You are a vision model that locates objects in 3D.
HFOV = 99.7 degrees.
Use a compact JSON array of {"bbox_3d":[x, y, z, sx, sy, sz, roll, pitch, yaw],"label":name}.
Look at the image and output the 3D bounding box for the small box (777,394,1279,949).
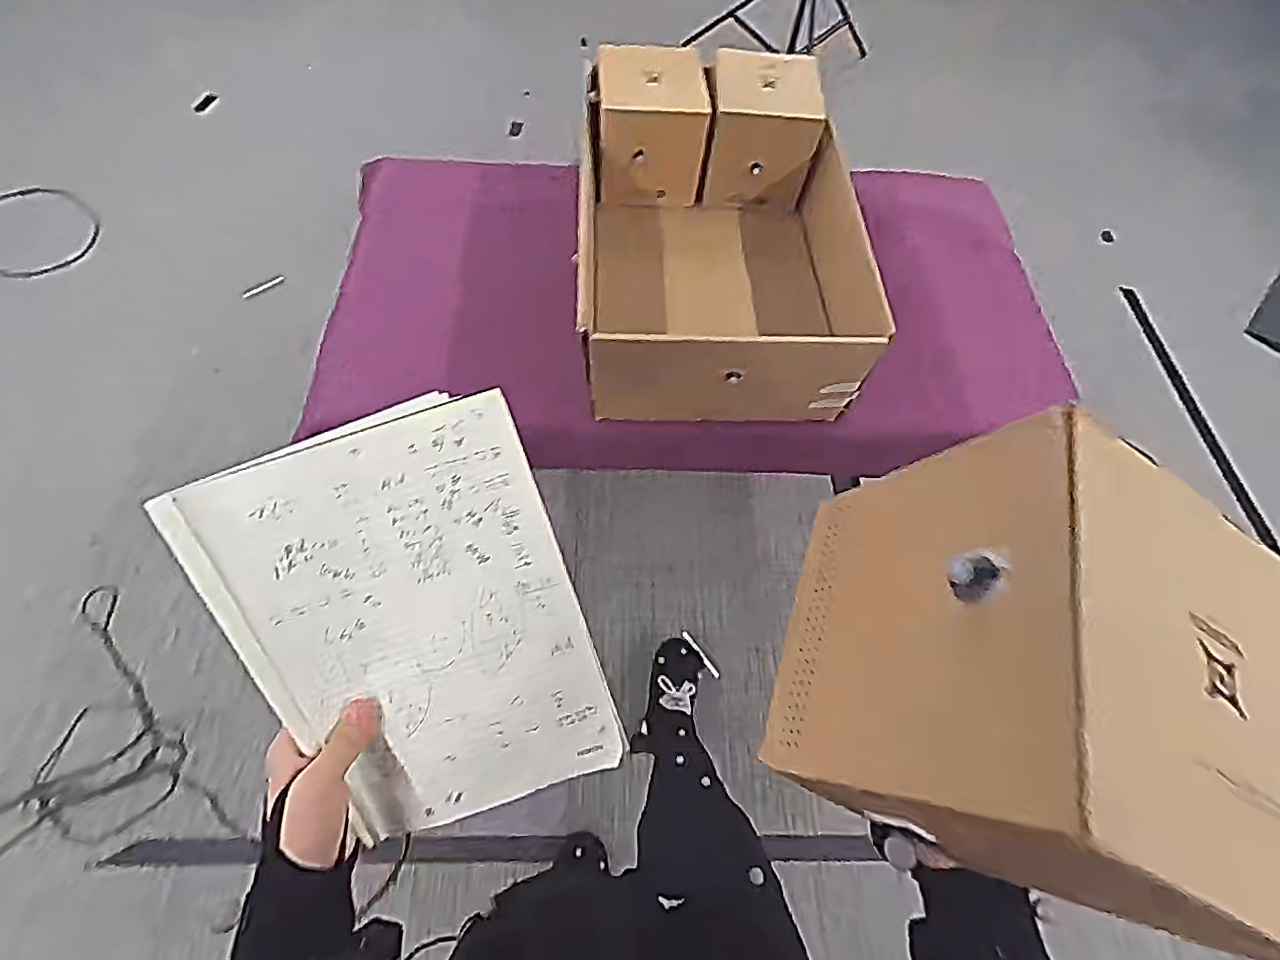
[{"bbox_3d":[0.197,0.094,0.284,0.168,0.176,0.179,29,62,-11],"label":"small box"}]
